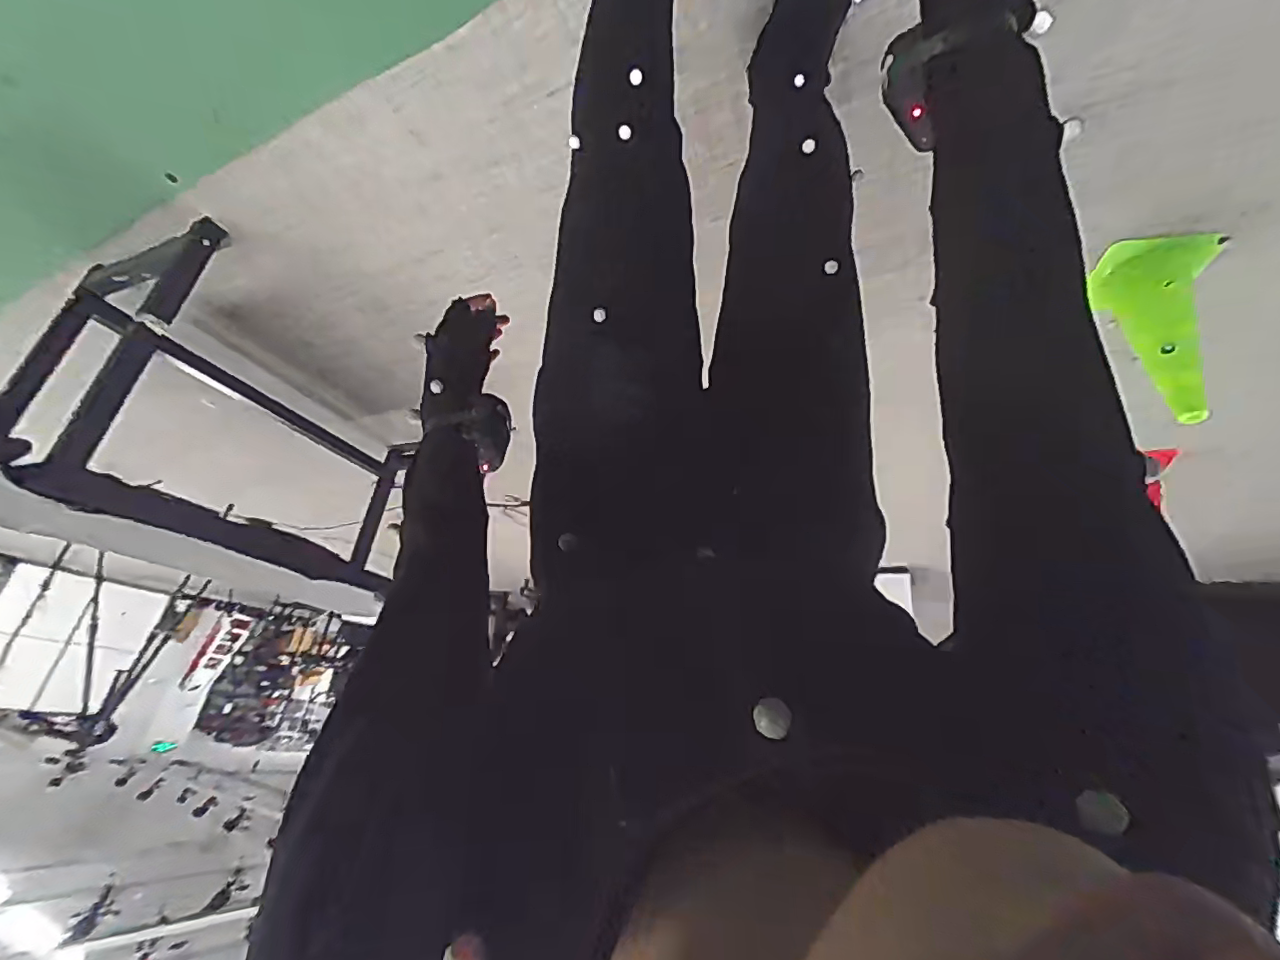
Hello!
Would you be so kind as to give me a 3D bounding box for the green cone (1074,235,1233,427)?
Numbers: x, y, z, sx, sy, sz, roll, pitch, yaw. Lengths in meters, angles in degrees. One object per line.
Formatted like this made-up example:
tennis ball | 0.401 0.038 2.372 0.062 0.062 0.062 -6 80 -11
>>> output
green cone | 1.042 -0.271 1.065 0.200 0.368 0.202 1 155 16
